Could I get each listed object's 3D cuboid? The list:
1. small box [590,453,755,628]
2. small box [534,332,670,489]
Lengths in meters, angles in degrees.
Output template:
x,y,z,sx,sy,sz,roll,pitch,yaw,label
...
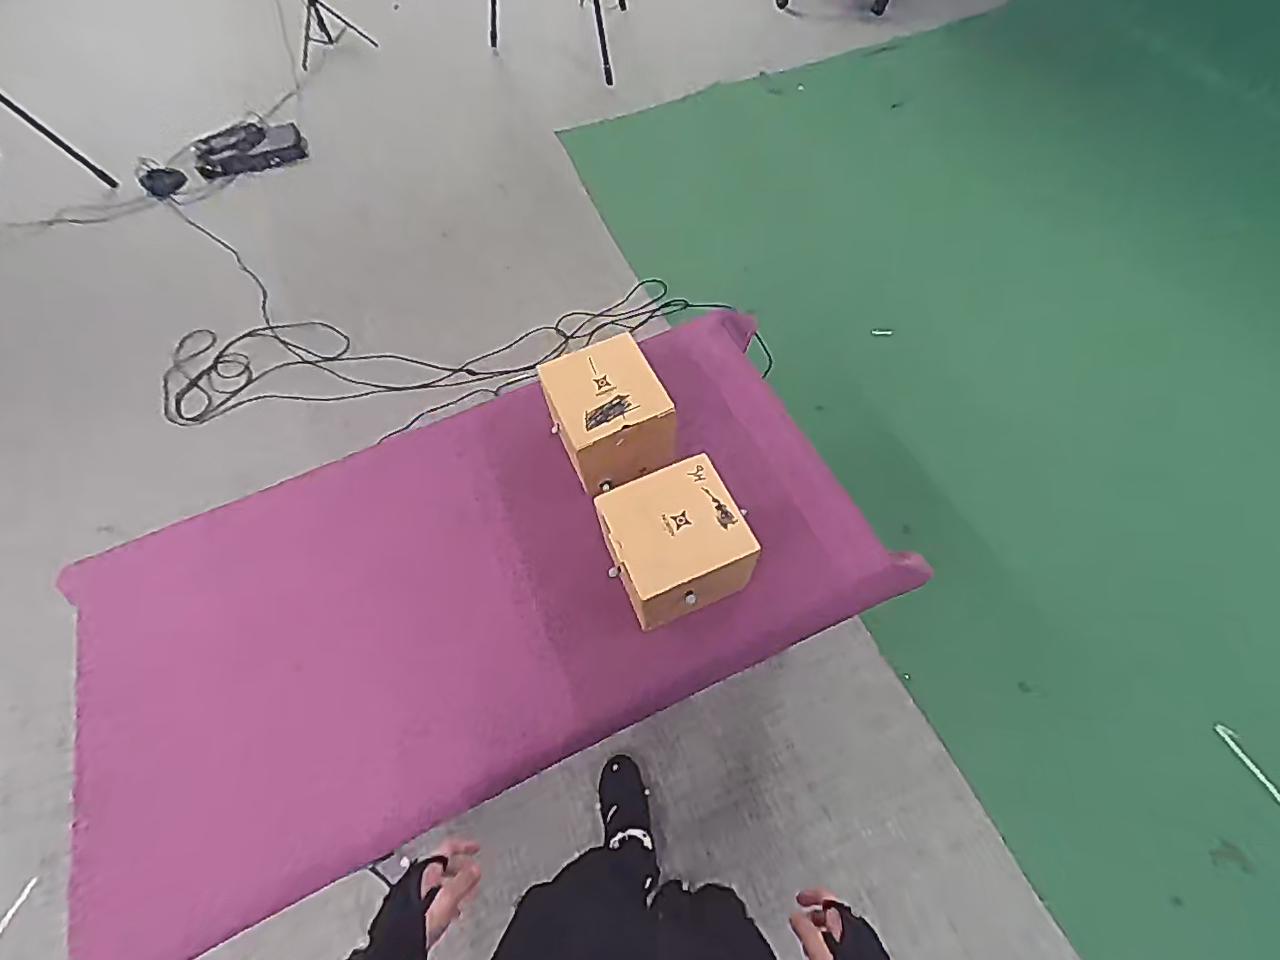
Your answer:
x,y,z,sx,sy,sz,roll,pitch,yaw,label
0.046,0.095,0.787,0.179,0.176,0.168,-22,62,-8,small box
-0.056,-0.105,0.899,0.168,0.176,0.179,-23,63,-9,small box
